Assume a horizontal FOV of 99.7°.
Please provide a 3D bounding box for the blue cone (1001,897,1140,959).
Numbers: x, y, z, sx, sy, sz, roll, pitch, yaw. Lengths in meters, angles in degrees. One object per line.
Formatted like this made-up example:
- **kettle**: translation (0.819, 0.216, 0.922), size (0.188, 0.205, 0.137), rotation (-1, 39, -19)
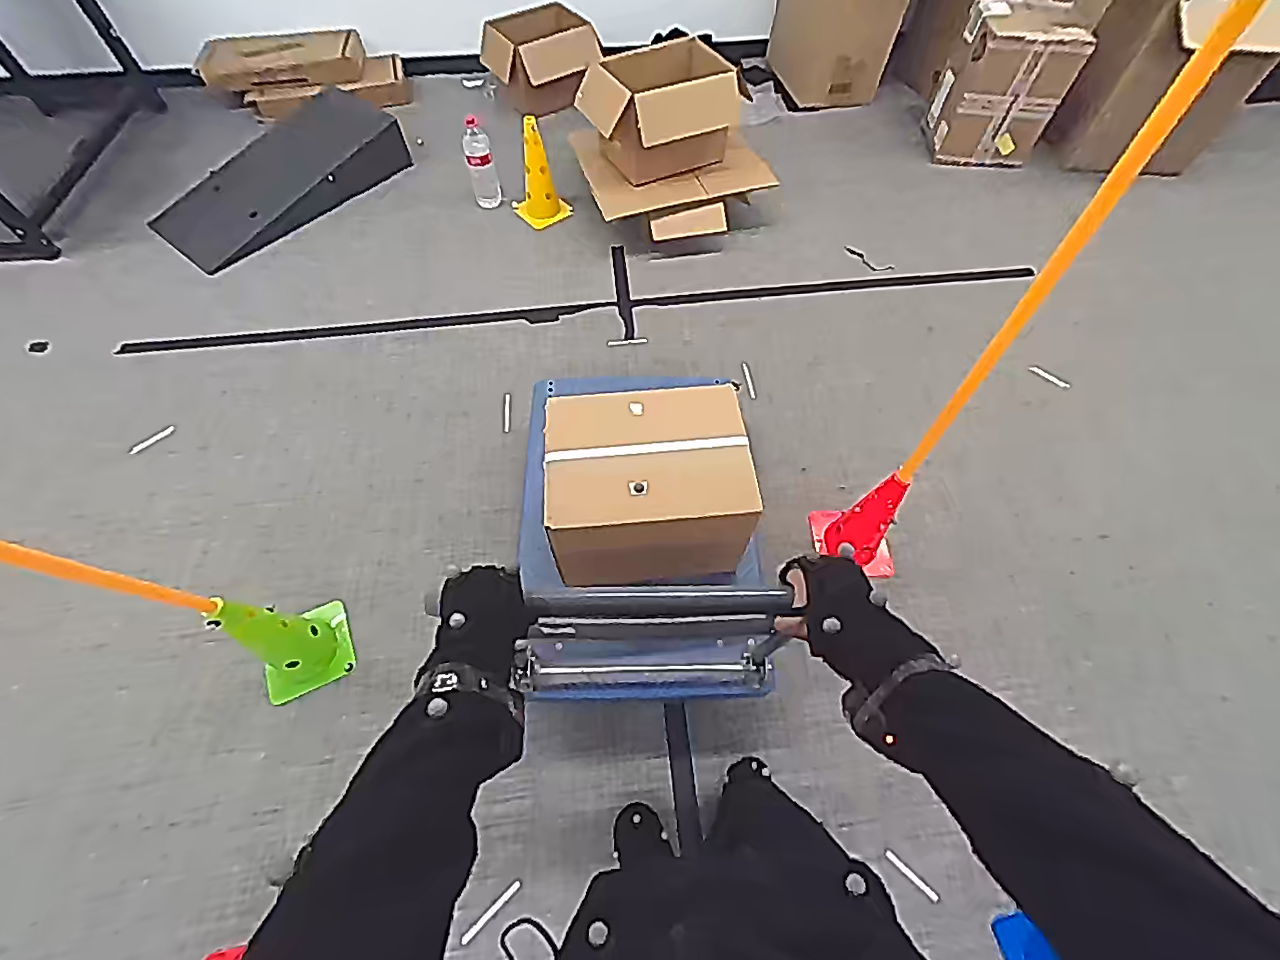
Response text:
- **blue cone**: translation (0.818, 0.851, 0.900), size (0.193, 0.380, 0.192), rotation (-9, 58, -6)

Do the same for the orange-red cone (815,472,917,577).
- **orange-red cone**: translation (0.592, 0.086, 1.340), size (0.199, 0.360, 0.198), rotation (1, 60, -1)
